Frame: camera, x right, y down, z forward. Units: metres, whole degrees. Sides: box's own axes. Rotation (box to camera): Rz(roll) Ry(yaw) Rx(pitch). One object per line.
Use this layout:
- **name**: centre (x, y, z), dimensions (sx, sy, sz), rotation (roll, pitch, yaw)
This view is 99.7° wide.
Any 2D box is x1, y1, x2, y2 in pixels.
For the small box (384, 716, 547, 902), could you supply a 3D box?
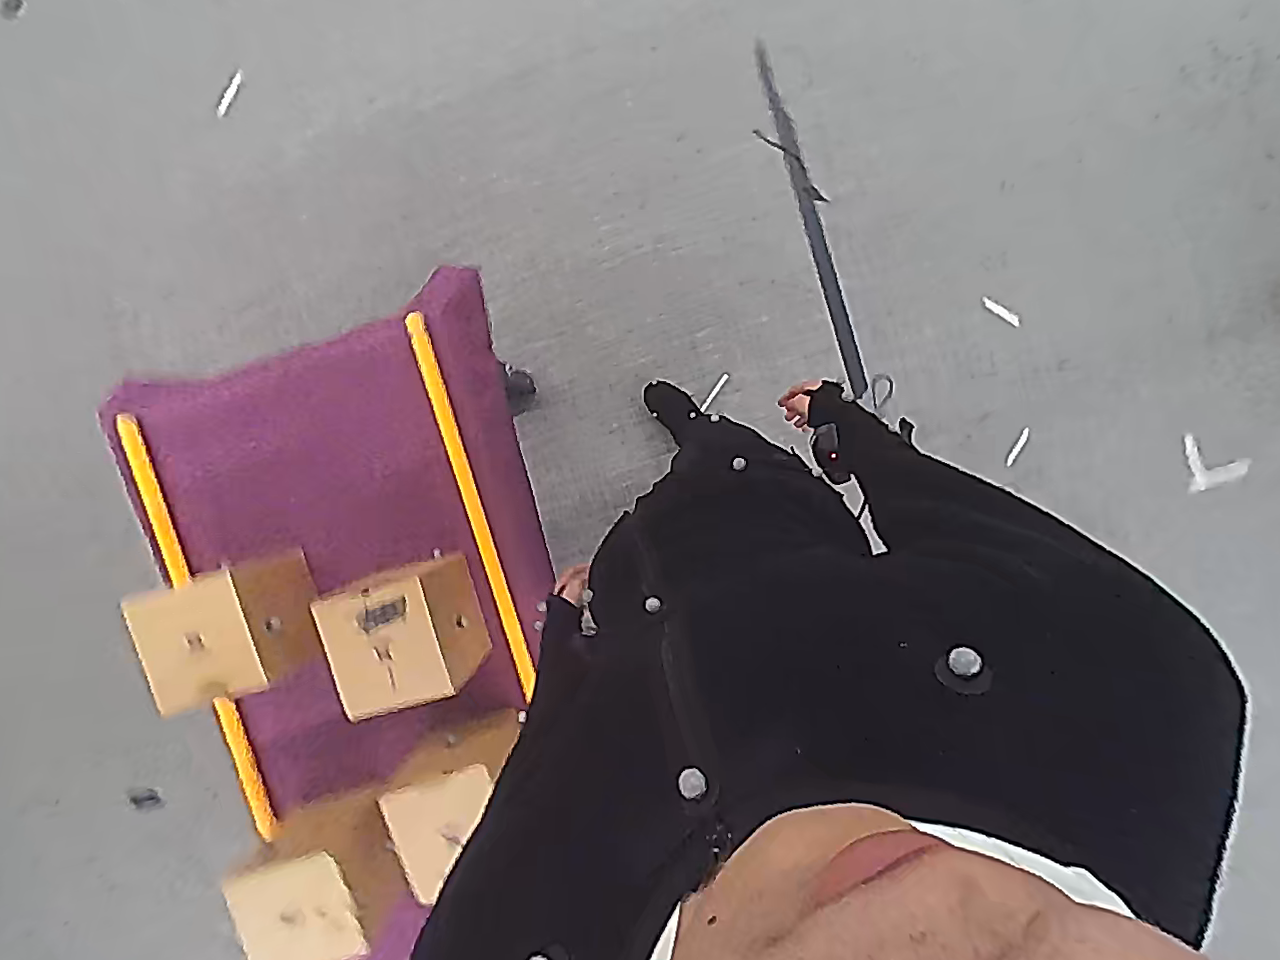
- **small box**: centre (-0.263, 0.500, 0.853), dimensions (0.168, 0.176, 0.179), rotation (-19, 92, 3)

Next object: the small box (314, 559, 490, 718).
- **small box**: centre (-0.355, 0.231, 0.840), dimensions (0.168, 0.176, 0.179), rotation (-16, 94, 5)

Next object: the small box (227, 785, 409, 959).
- **small box**: centre (-0.499, 0.634, 0.870), dimensions (0.179, 0.176, 0.168), rotation (-18, 93, 1)

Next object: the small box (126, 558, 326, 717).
- **small box**: centre (-0.629, 0.232, 0.850), dimensions (0.168, 0.176, 0.179), rotation (-18, 94, 2)
